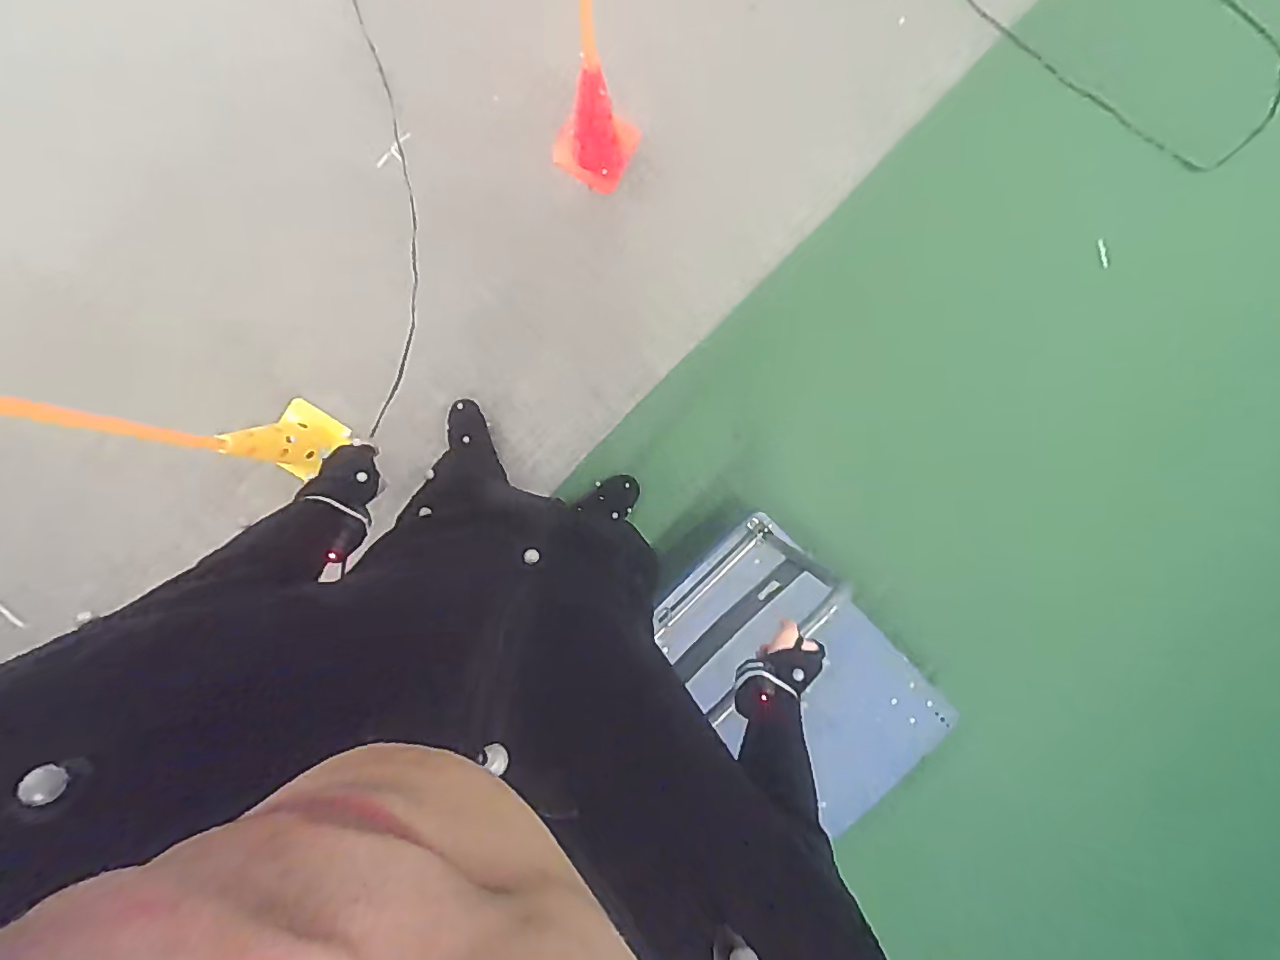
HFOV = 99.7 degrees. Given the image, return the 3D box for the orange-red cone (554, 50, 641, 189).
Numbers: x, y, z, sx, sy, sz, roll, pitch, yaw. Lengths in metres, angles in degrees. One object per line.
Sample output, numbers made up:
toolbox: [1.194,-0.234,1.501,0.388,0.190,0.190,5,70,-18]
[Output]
orange-red cone: [-0.108,-0.940,1.360,0.198,0.360,0.199,30,91,-6]
